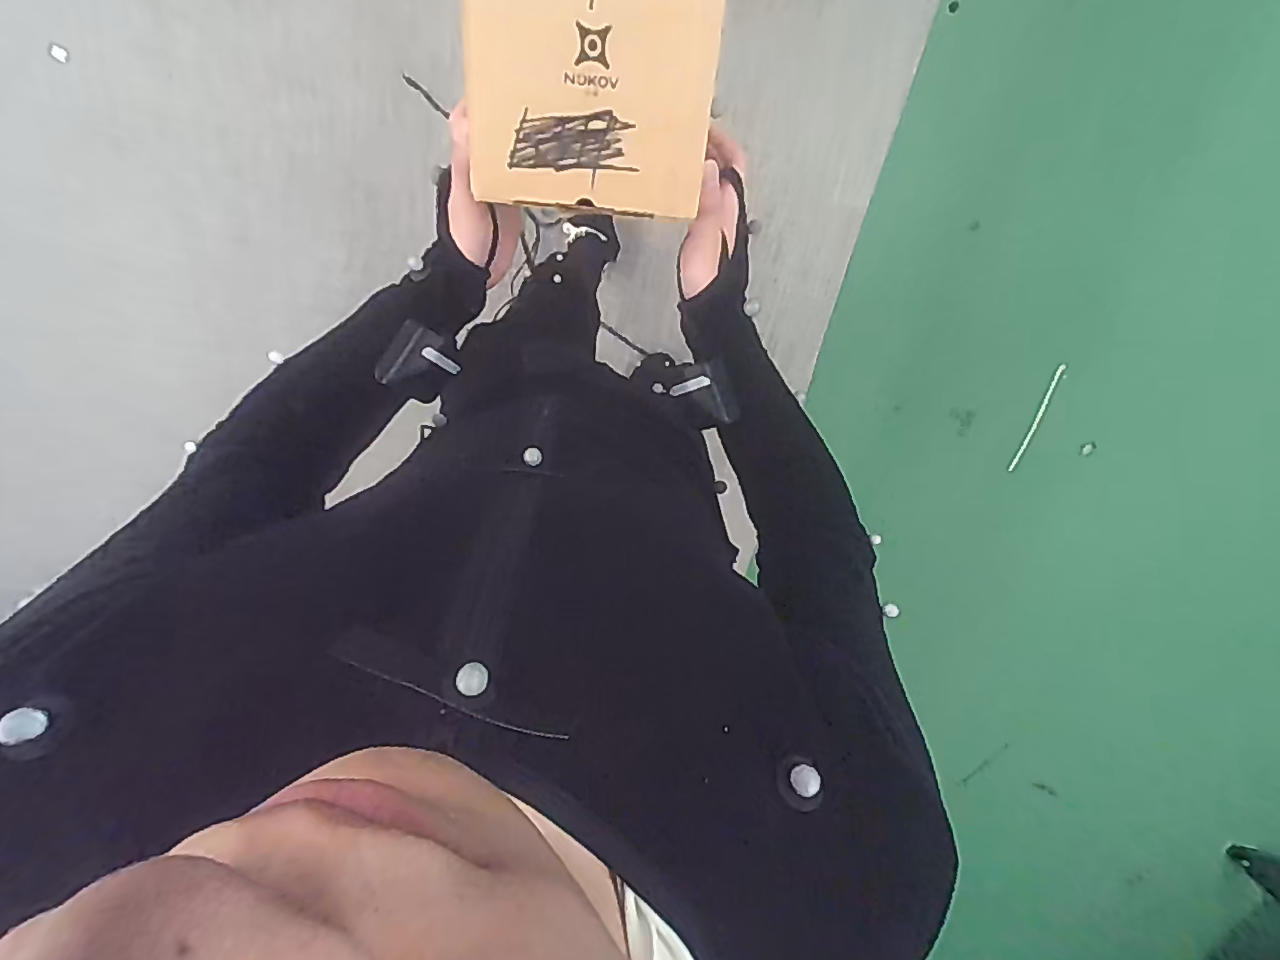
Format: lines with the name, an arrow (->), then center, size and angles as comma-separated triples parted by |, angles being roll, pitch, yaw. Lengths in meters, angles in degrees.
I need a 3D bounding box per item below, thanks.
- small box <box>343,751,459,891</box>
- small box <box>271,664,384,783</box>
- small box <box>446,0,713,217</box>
small box -> -0.515, 0.738, 1.182 | 0.168, 0.176, 0.179 | 18, 107, -4
small box -> -0.753, 0.587, 1.319 | 0.168, 0.176, 0.179 | 20, 106, -4
small box -> -0.038, -0.308, 0.411 | 0.168, 0.176, 0.179 | 5, 118, -2
